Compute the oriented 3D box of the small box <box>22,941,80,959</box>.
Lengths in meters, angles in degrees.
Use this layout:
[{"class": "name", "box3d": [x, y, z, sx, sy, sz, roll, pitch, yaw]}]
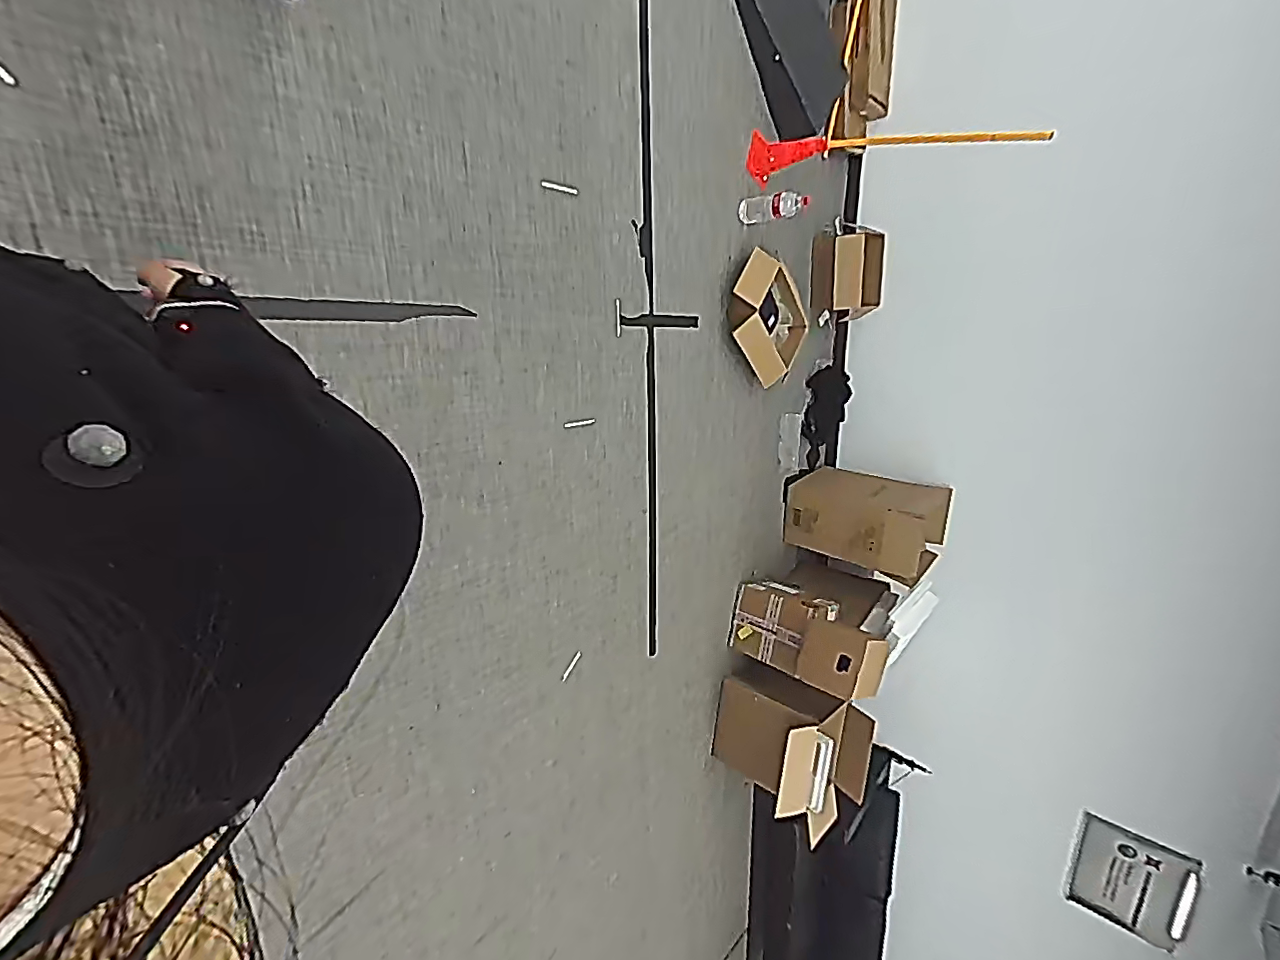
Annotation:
[{"class": "small box", "box3d": [-1.228, 1.097, 1.088, 0.168, 0.176, 0.179, -30, 121, -43]}]
